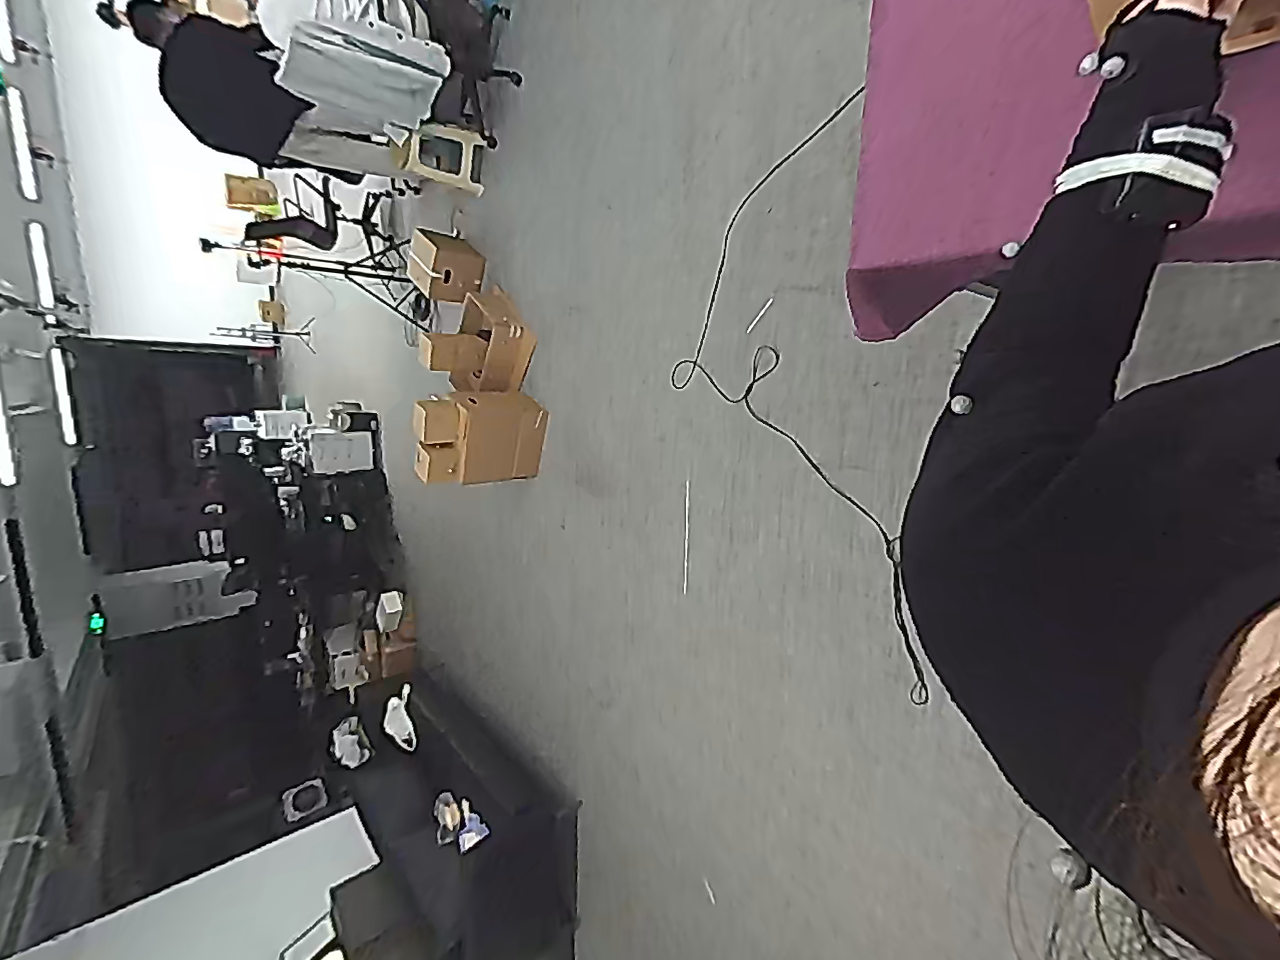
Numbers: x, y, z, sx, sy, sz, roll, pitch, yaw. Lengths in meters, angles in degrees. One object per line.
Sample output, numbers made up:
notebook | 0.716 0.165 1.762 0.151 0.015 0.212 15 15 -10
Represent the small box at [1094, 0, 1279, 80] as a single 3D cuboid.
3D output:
small box | 0.489 -0.482 0.436 0.168 0.176 0.179 17 97 48
